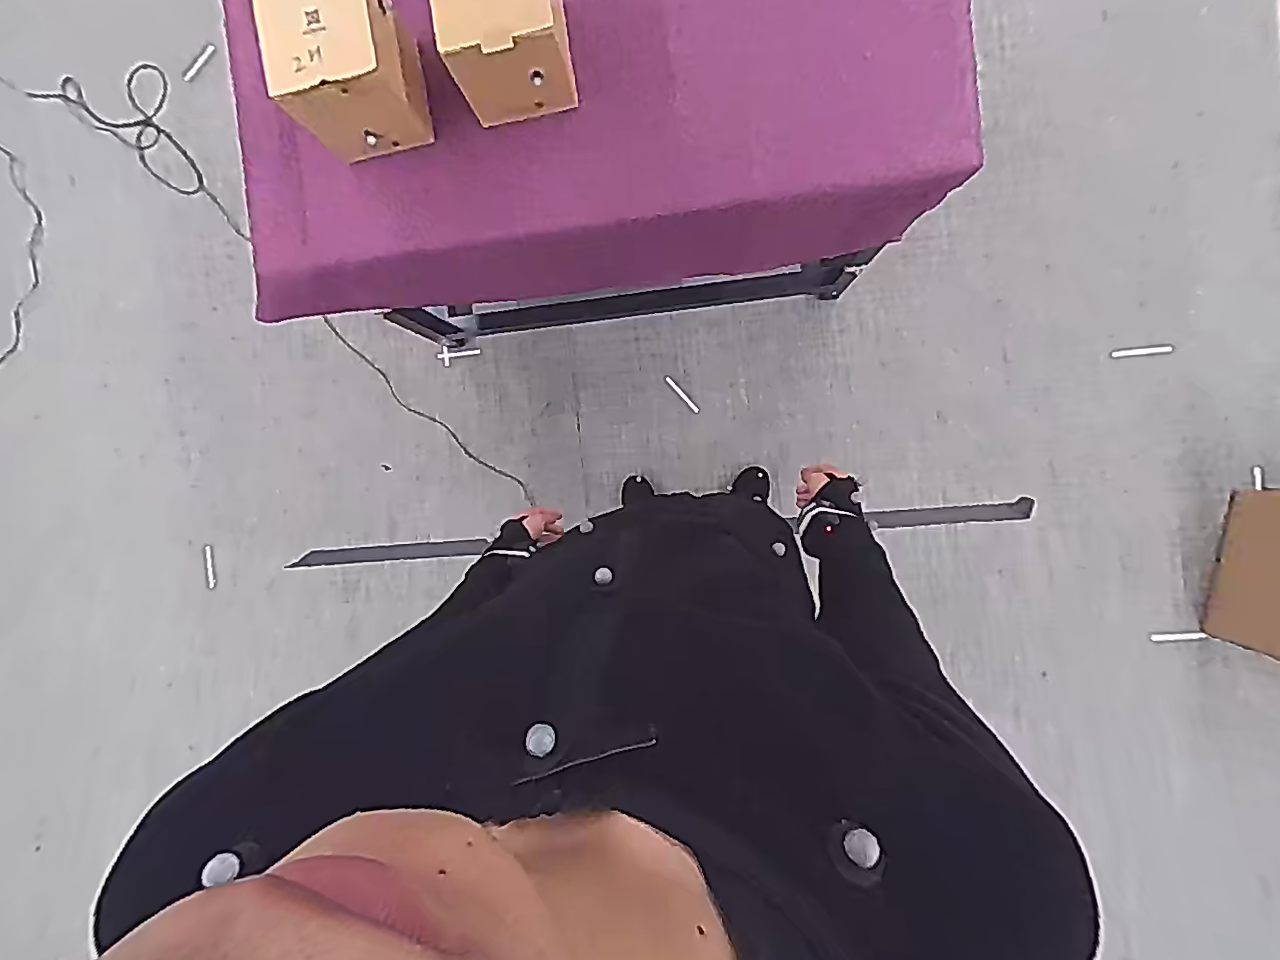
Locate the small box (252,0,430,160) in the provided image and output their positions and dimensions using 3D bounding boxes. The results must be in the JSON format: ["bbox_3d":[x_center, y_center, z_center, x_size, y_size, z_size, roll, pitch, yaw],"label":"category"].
[{"bbox_3d":[-0.450,-0.639,0.833,0.168,0.176,0.179,-10,91,6],"label":"small box"}]

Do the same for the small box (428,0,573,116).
[{"bbox_3d":[-0.204,-0.684,0.811,0.168,0.176,0.179,-8,91,5],"label":"small box"}]
